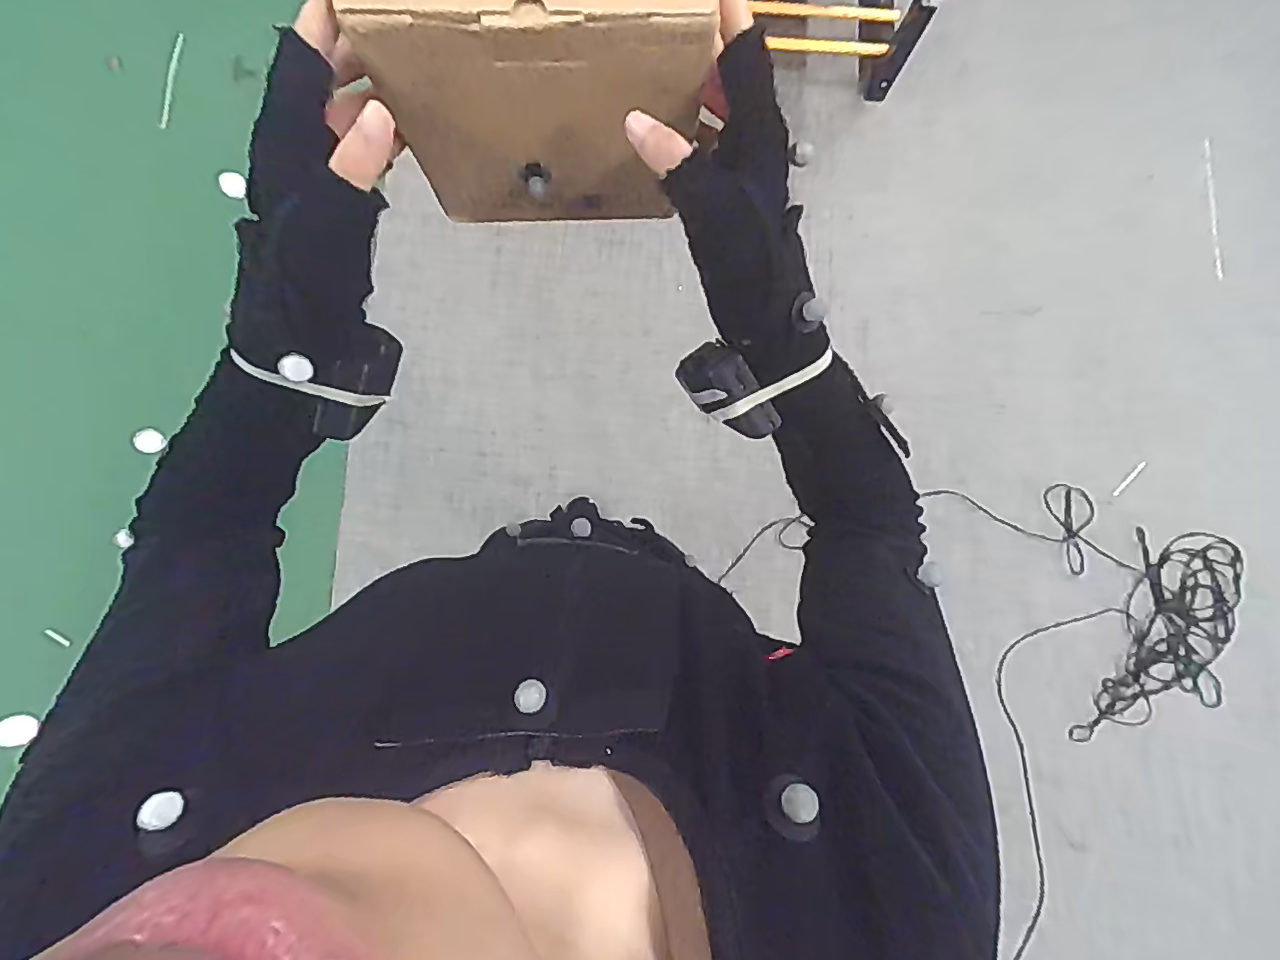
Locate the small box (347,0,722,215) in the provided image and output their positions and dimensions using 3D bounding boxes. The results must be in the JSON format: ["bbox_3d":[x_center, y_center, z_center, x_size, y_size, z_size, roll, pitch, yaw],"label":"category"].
[{"bbox_3d":[-0.054,-0.282,0.310,0.168,0.176,0.179,-3,88,-3],"label":"small box"}]
